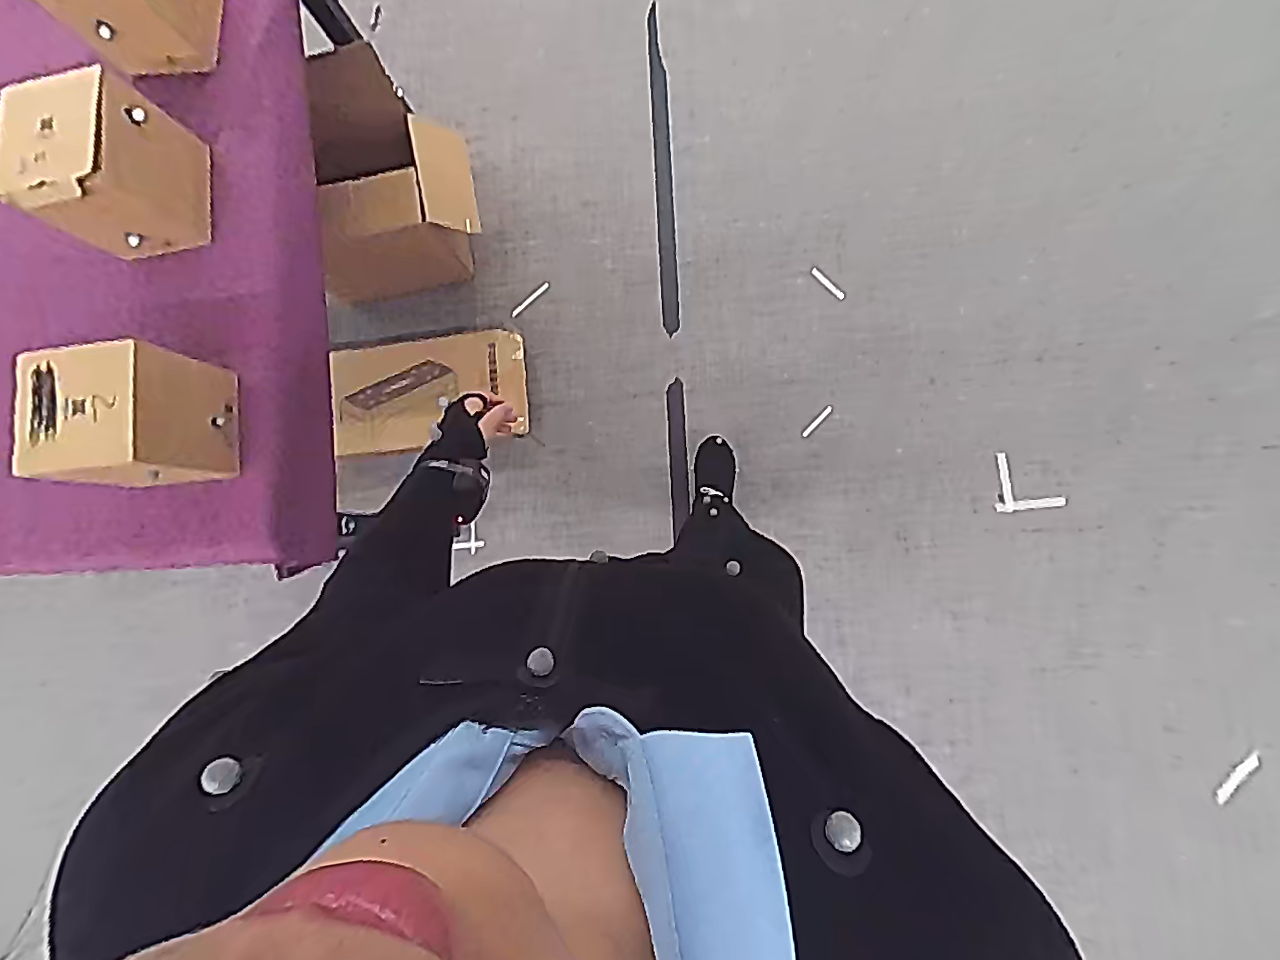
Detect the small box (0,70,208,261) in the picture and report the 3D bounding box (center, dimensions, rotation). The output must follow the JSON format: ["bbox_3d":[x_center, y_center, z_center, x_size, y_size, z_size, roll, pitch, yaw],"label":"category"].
[{"bbox_3d":[-0.803,-0.465,0.823,0.168,0.176,0.179,-7,84,7],"label":"small box"}]

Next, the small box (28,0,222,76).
[{"bbox_3d":[-0.810,-0.782,0.858,0.168,0.176,0.179,1,84,6],"label":"small box"}]
